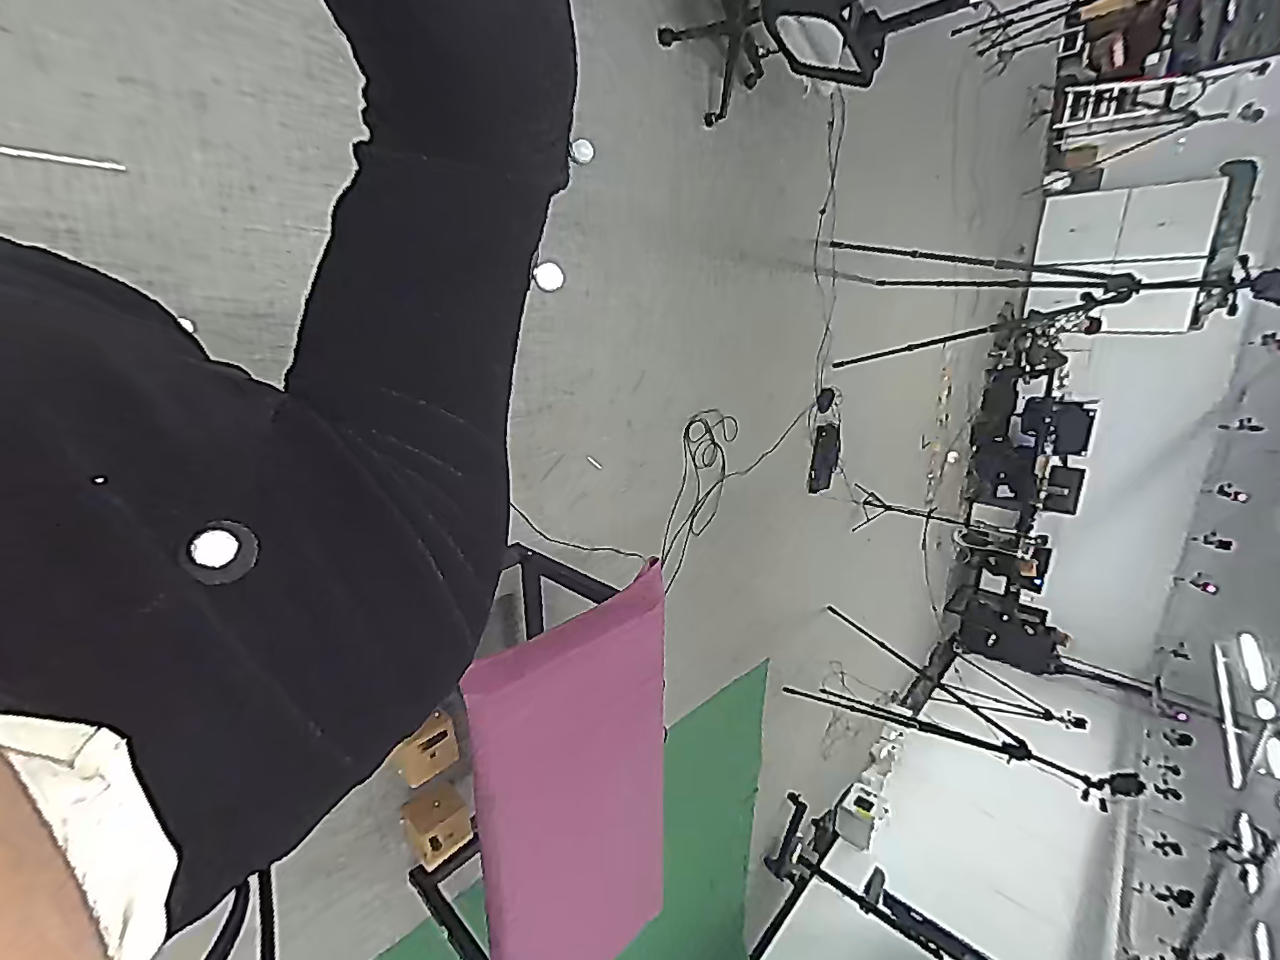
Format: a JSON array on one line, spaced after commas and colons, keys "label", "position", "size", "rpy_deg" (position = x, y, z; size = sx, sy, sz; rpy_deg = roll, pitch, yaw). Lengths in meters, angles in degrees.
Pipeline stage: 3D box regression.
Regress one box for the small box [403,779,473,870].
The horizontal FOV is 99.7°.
[{"label": "small box", "position": [-0.728, 1.224, 1.931], "size": [0.179, 0.176, 0.168], "rpy_deg": [-21, 116, -45]}]
